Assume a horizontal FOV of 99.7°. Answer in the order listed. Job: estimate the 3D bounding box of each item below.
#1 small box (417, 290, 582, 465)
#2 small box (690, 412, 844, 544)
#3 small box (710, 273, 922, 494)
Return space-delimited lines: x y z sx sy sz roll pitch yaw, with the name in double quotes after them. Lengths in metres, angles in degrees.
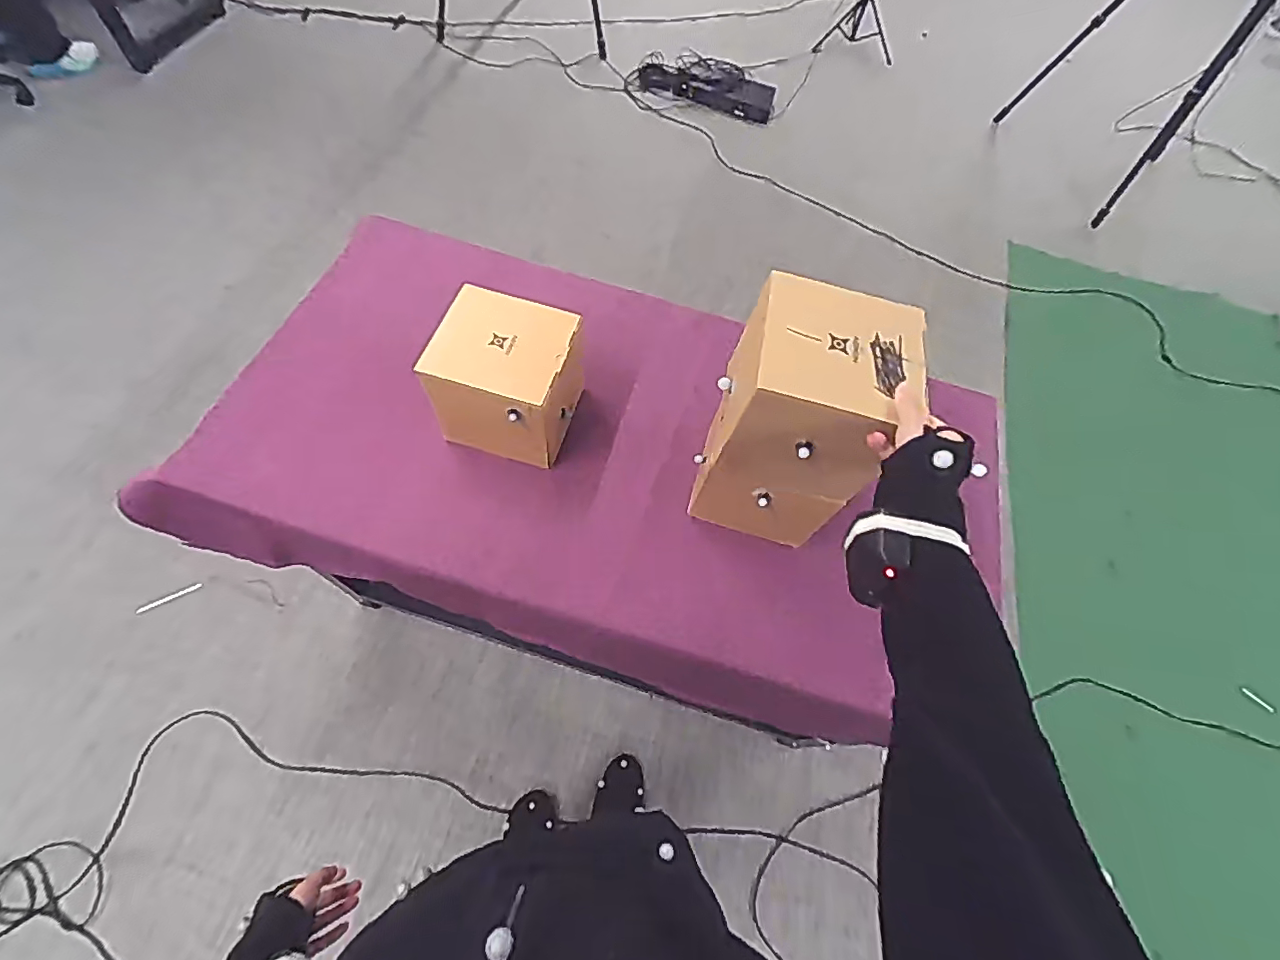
-0.193 -0.143 0.797 0.179 0.176 0.168 16 62 1 "small box"
0.181 -0.026 0.775 0.179 0.176 0.168 17 63 2 "small box"
0.195 -0.100 0.625 0.179 0.176 0.168 14 62 -1 "small box"
